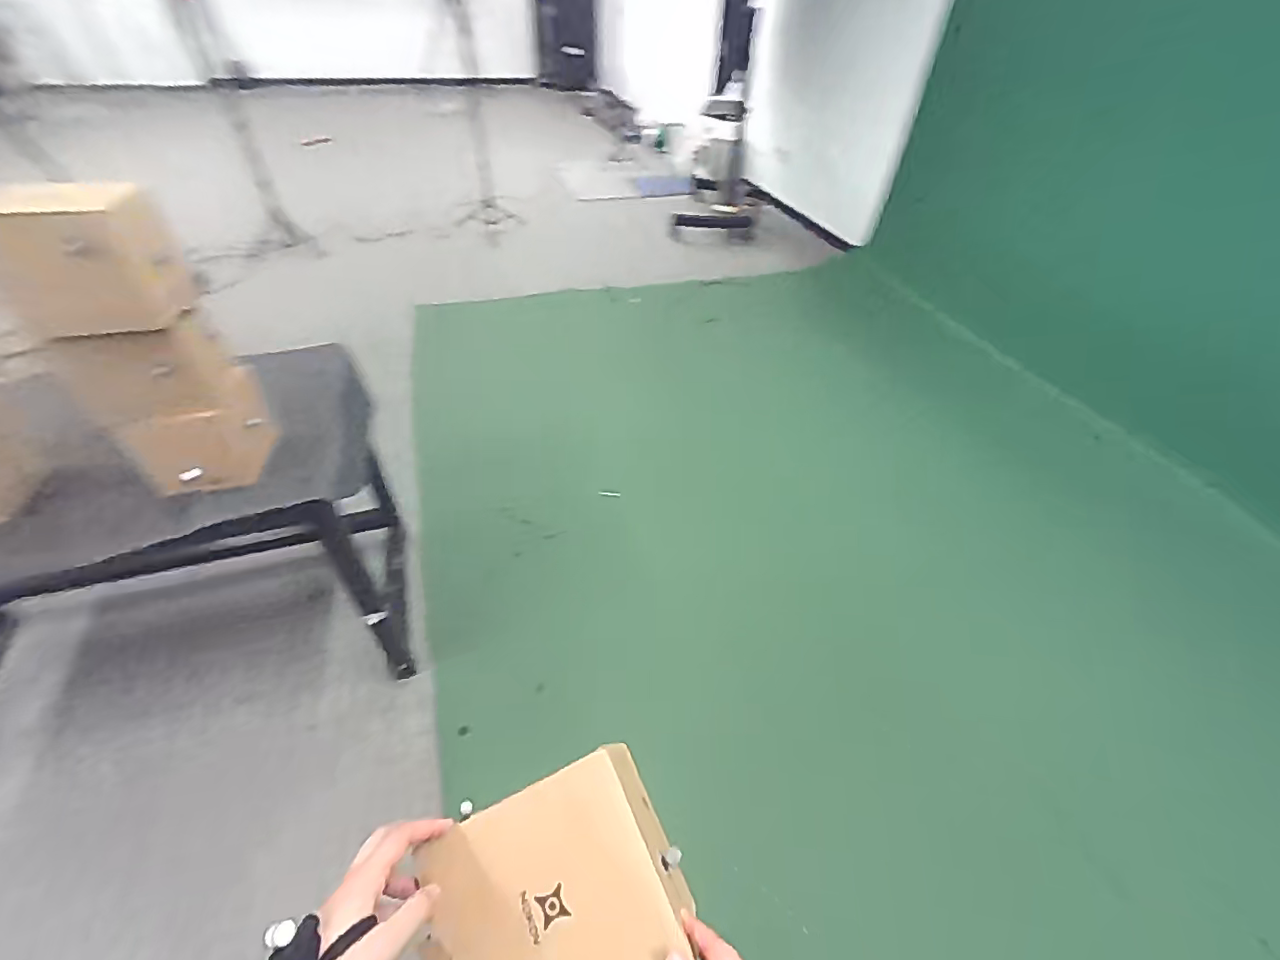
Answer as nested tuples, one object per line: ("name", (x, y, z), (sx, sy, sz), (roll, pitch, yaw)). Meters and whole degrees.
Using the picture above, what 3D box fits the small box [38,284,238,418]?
("small box", (-0.832, -0.229, 0.925), (0.179, 0.176, 0.168), (-14, 43, -15))

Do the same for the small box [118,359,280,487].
("small box", (-0.826, -0.110, 1.036), (0.168, 0.176, 0.179), (-8, 43, -10))

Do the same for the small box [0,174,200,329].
("small box", (-0.809, -0.340, 0.803), (0.179, 0.176, 0.168), (-9, 42, -12))

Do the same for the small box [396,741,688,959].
("small box", (-0.073, 0.348, 0.473), (0.179, 0.176, 0.168), (-27, 67, -7))

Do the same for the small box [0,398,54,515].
("small box", (-1.211, -0.035, 0.939), (0.179, 0.176, 0.168), (-10, 44, -12))
